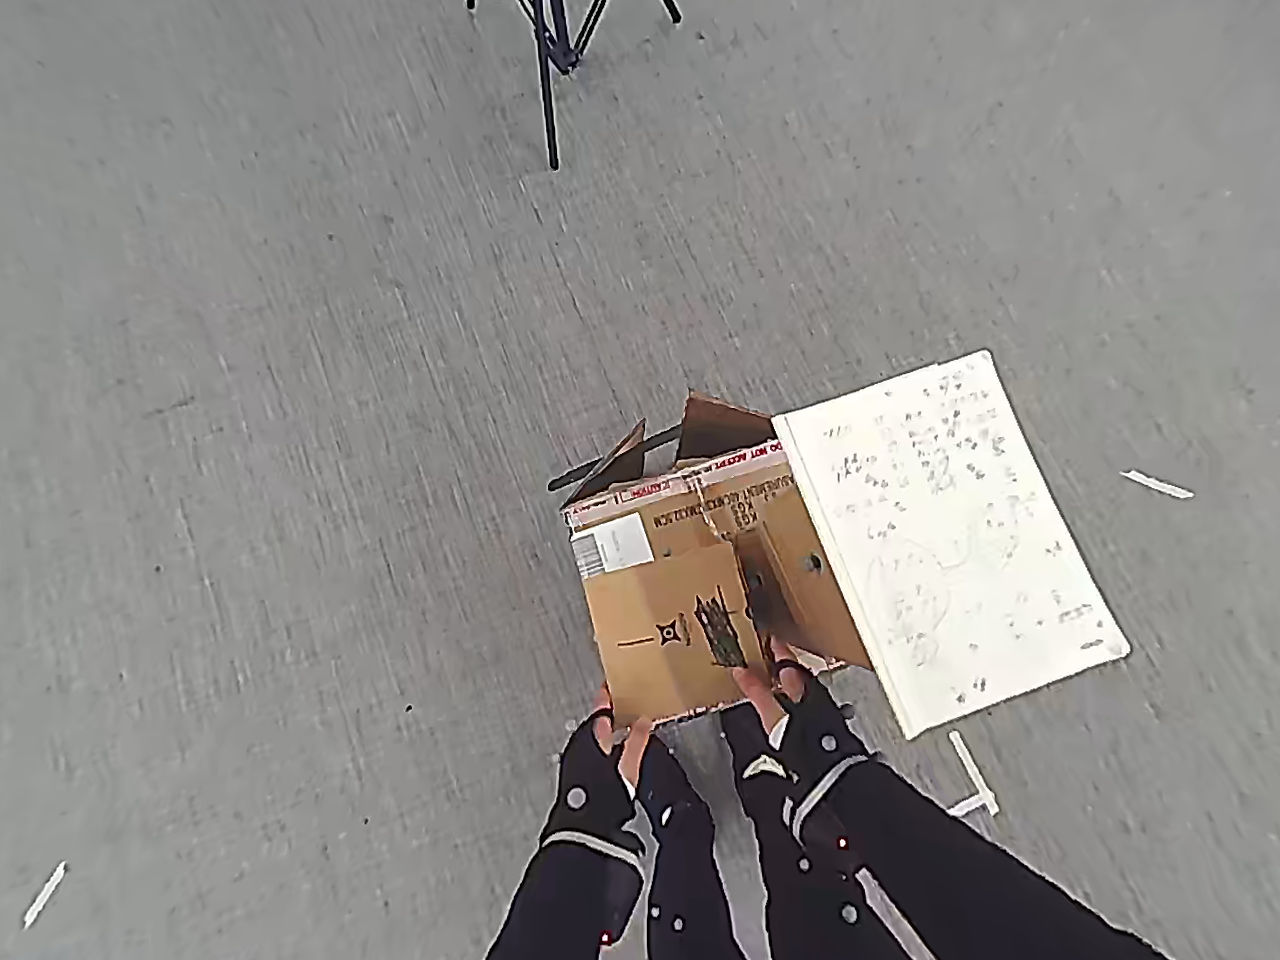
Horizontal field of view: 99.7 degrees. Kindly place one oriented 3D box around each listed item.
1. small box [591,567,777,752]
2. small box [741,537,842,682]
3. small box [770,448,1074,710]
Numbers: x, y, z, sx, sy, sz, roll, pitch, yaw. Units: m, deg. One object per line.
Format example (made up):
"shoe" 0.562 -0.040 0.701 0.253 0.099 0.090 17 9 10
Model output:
"small box" 0.047 0.206 0.671 0.179 0.176 0.168 -15 81 -1
"small box" 0.250 0.129 0.684 0.179 0.176 0.168 -23 80 -5
"small box" 0.247 0.092 0.526 0.168 0.176 0.179 -21 81 -5
